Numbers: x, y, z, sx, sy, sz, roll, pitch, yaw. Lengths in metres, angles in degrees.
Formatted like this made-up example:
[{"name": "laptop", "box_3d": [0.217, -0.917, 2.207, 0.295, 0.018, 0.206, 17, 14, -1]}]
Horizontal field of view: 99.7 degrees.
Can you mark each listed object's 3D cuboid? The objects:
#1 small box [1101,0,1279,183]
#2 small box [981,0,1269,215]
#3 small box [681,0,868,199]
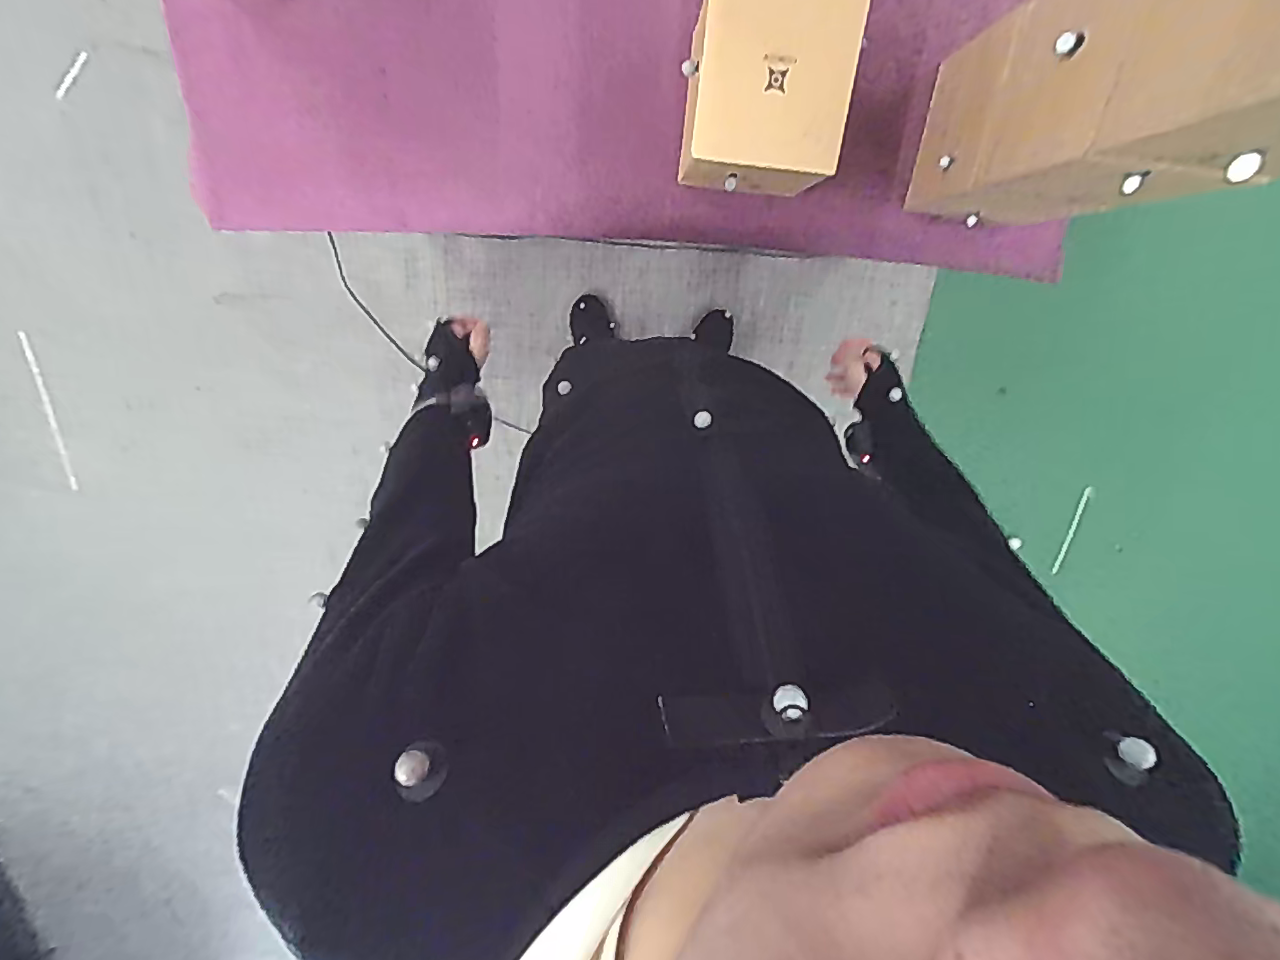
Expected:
[{"name": "small box", "box_3d": [0.460, -0.312, 0.347, 0.168, 0.176, 0.179, 7, 110, -1]}, {"name": "small box", "box_3d": [0.462, -0.364, 0.504, 0.168, 0.176, 0.179, 7, 109, -1]}, {"name": "small box", "box_3d": [0.143, -0.451, 0.649, 0.168, 0.176, 0.179, 6, 109, -2]}]
